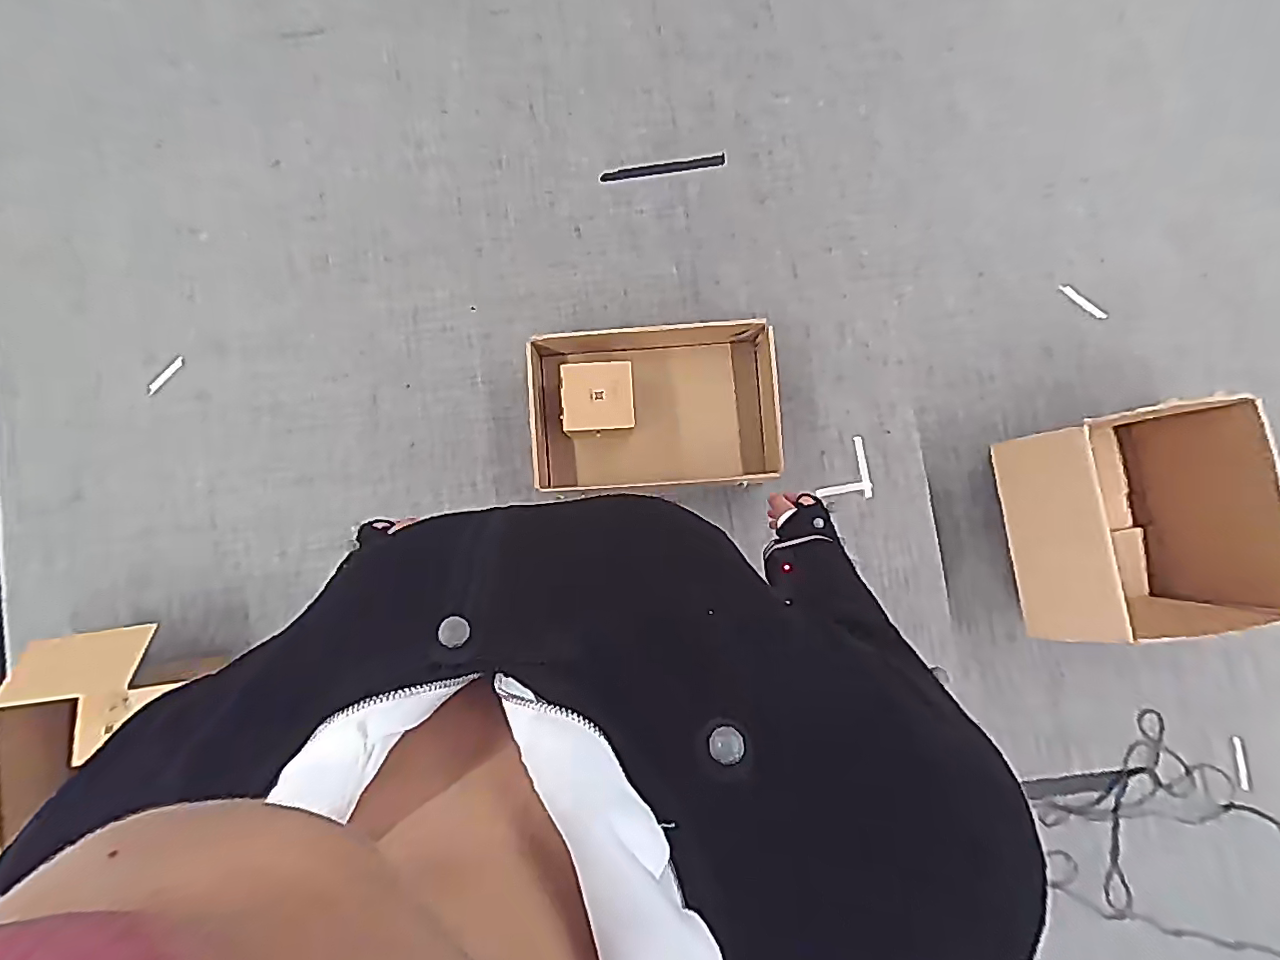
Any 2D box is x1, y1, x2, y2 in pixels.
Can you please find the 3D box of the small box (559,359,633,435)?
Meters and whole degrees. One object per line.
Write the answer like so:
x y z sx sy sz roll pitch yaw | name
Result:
-0.109 -0.209 1.401 0.179 0.176 0.168 -4 89 -2 | small box
